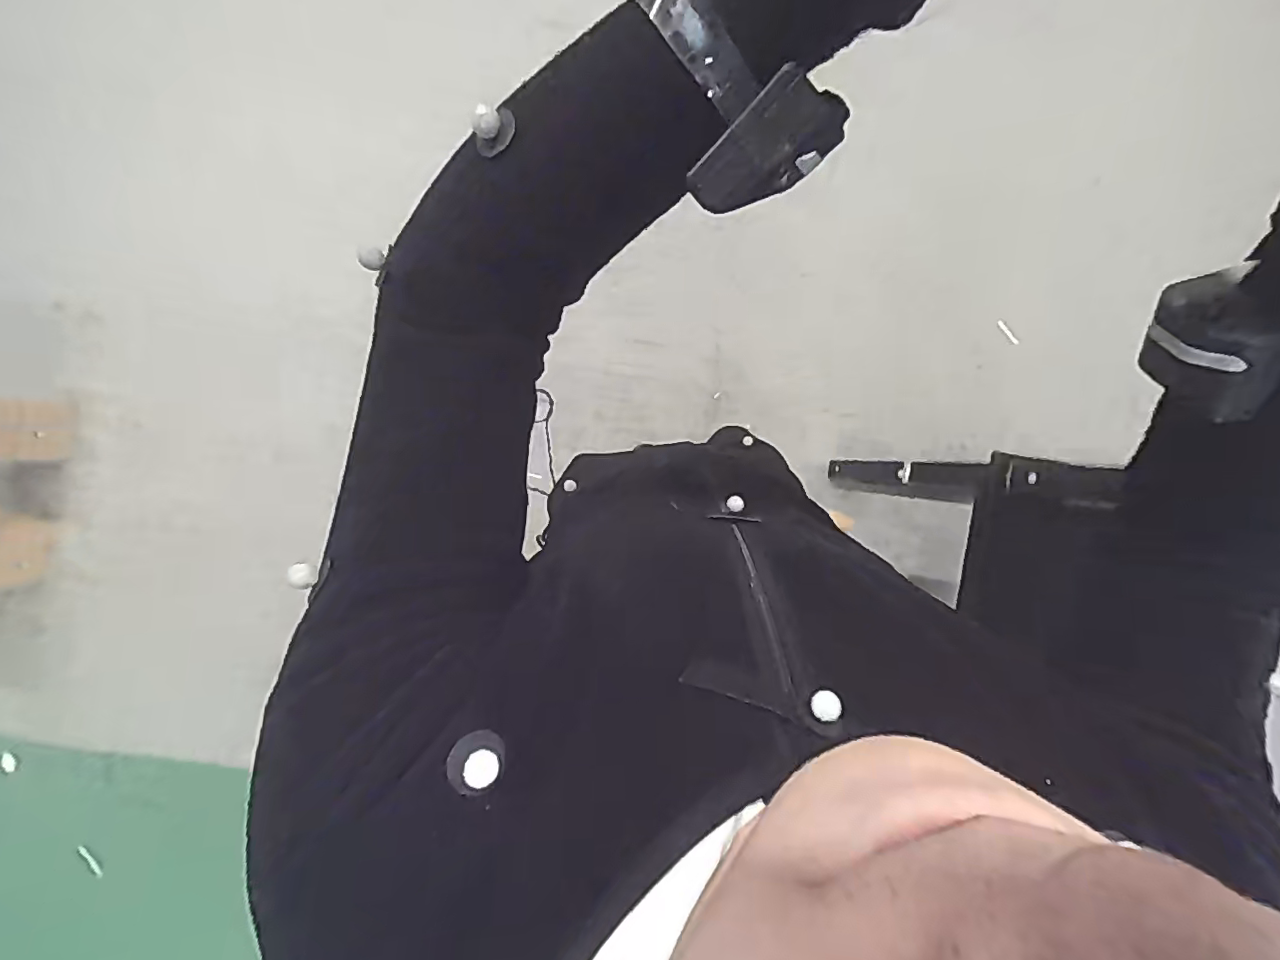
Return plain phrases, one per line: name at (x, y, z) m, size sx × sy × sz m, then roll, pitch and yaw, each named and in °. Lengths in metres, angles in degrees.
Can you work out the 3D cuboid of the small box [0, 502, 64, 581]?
small box at (-1.739, 0.160, 1.463) m, size 0.179 × 0.176 × 0.168 m, roll 14°, pitch 92°, yaw -3°
